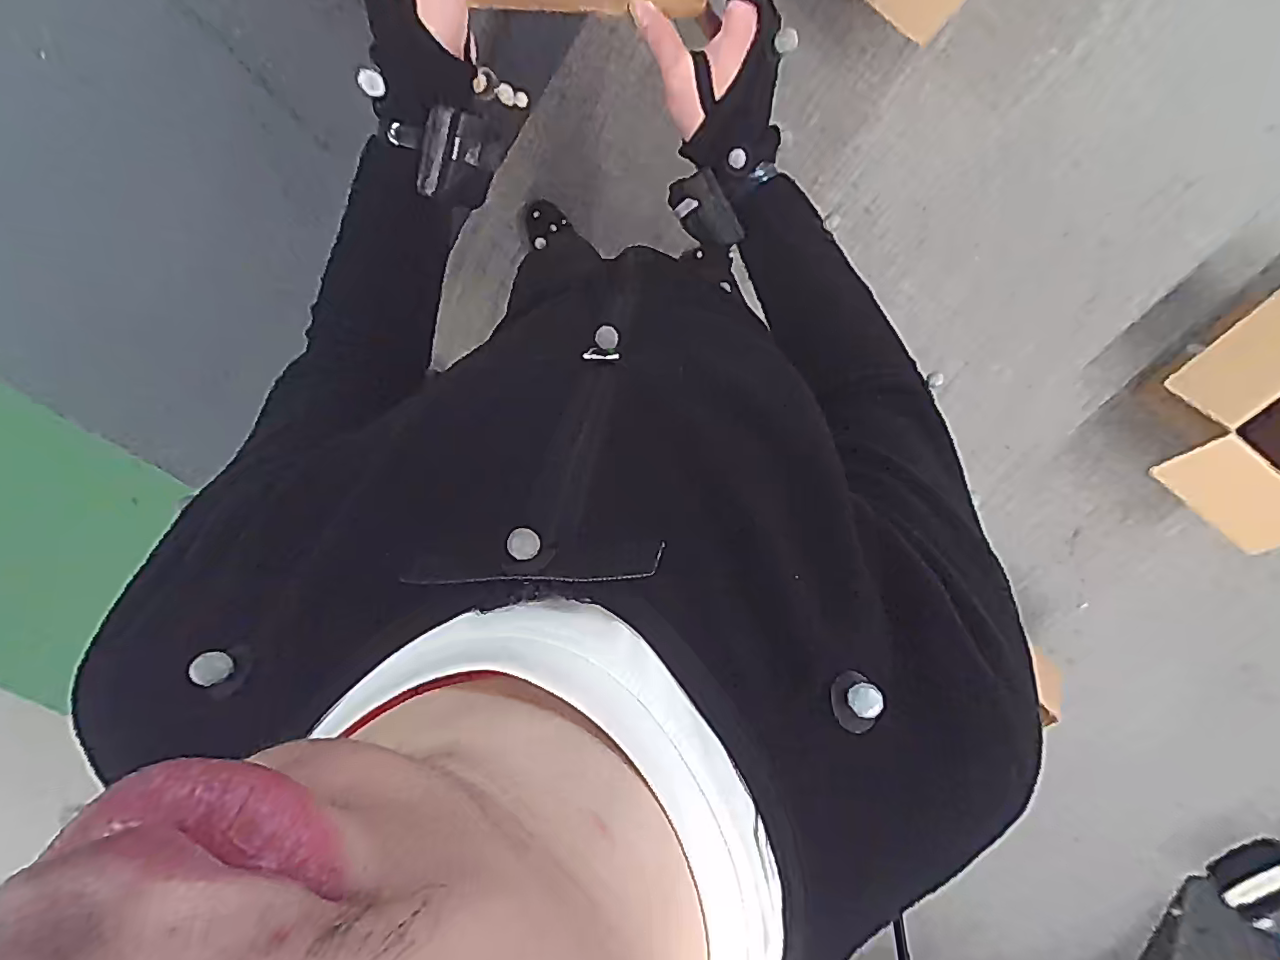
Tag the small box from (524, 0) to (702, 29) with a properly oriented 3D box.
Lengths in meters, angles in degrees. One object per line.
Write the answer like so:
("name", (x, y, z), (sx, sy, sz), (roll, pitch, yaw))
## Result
("small box", (-0.030, -0.426, 0.320), (0.179, 0.168, 0.176), (6, 74, -4))
